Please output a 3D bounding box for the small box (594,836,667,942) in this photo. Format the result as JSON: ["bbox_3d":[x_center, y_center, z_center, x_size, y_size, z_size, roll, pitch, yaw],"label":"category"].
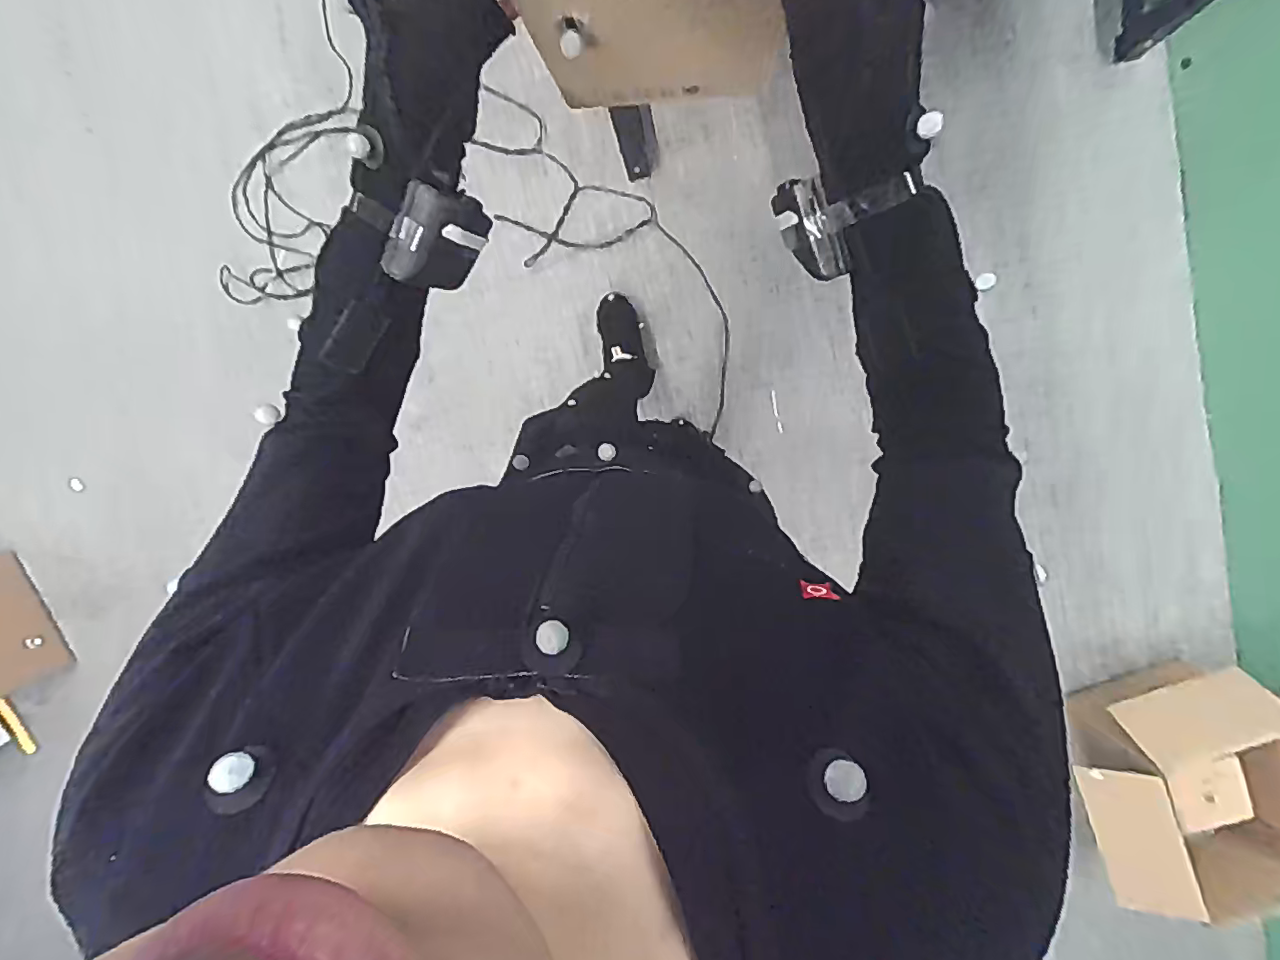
[{"bbox_3d":[-0.019,1.146,1.523,0.168,0.176,0.179,-9,99,8],"label":"small box"}]
